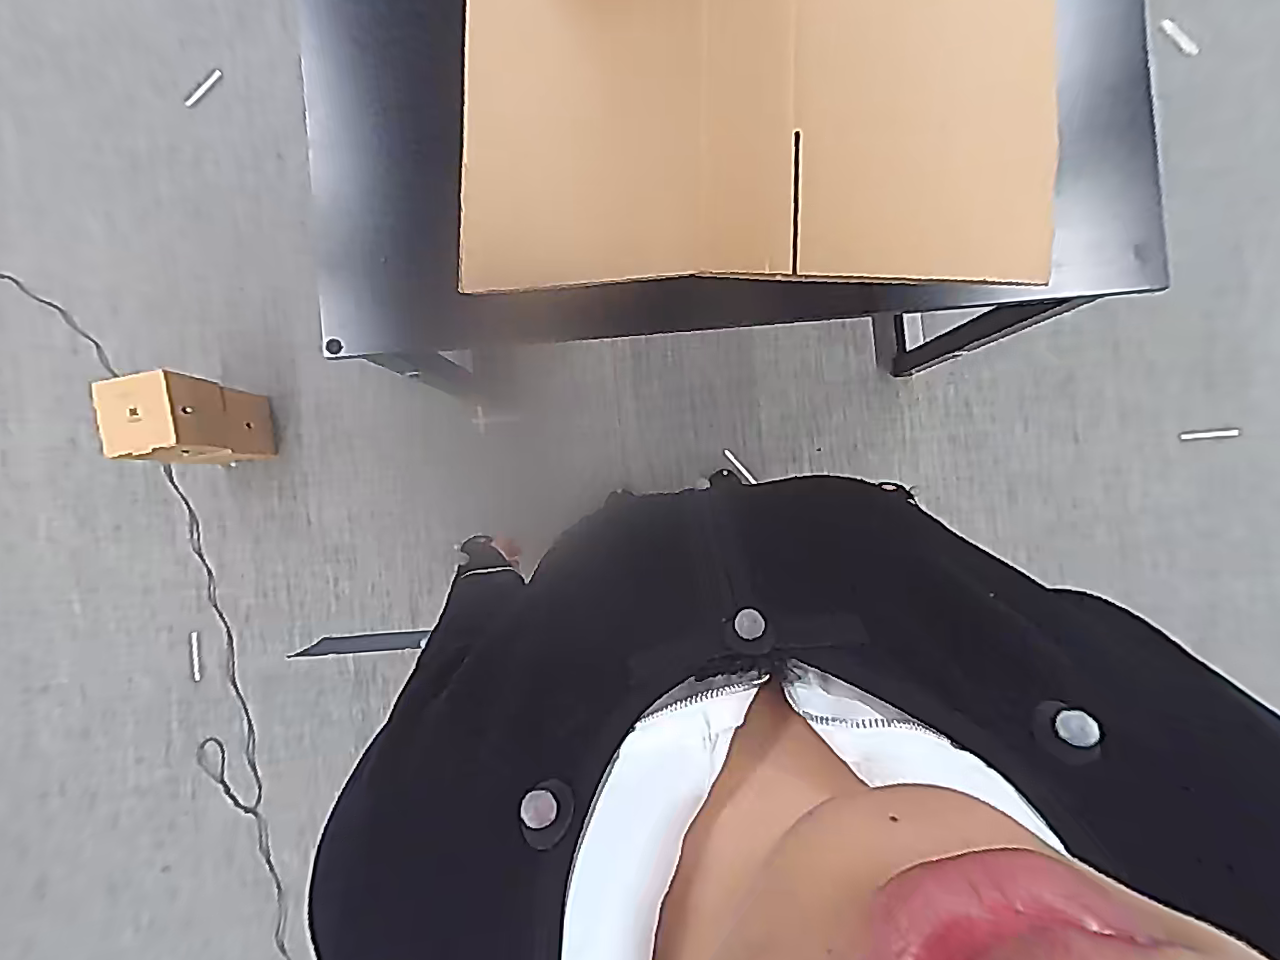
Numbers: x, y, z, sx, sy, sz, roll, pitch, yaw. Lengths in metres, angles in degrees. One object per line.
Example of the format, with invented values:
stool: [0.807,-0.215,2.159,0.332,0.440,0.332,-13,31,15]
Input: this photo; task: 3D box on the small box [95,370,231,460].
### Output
small box: [-1.119,-0.146,1.283,0.168,0.176,0.179,-12,89,0]

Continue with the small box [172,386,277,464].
small box: [-1.113,-0.140,1.446,0.168,0.176,0.179,-9,90,1]
